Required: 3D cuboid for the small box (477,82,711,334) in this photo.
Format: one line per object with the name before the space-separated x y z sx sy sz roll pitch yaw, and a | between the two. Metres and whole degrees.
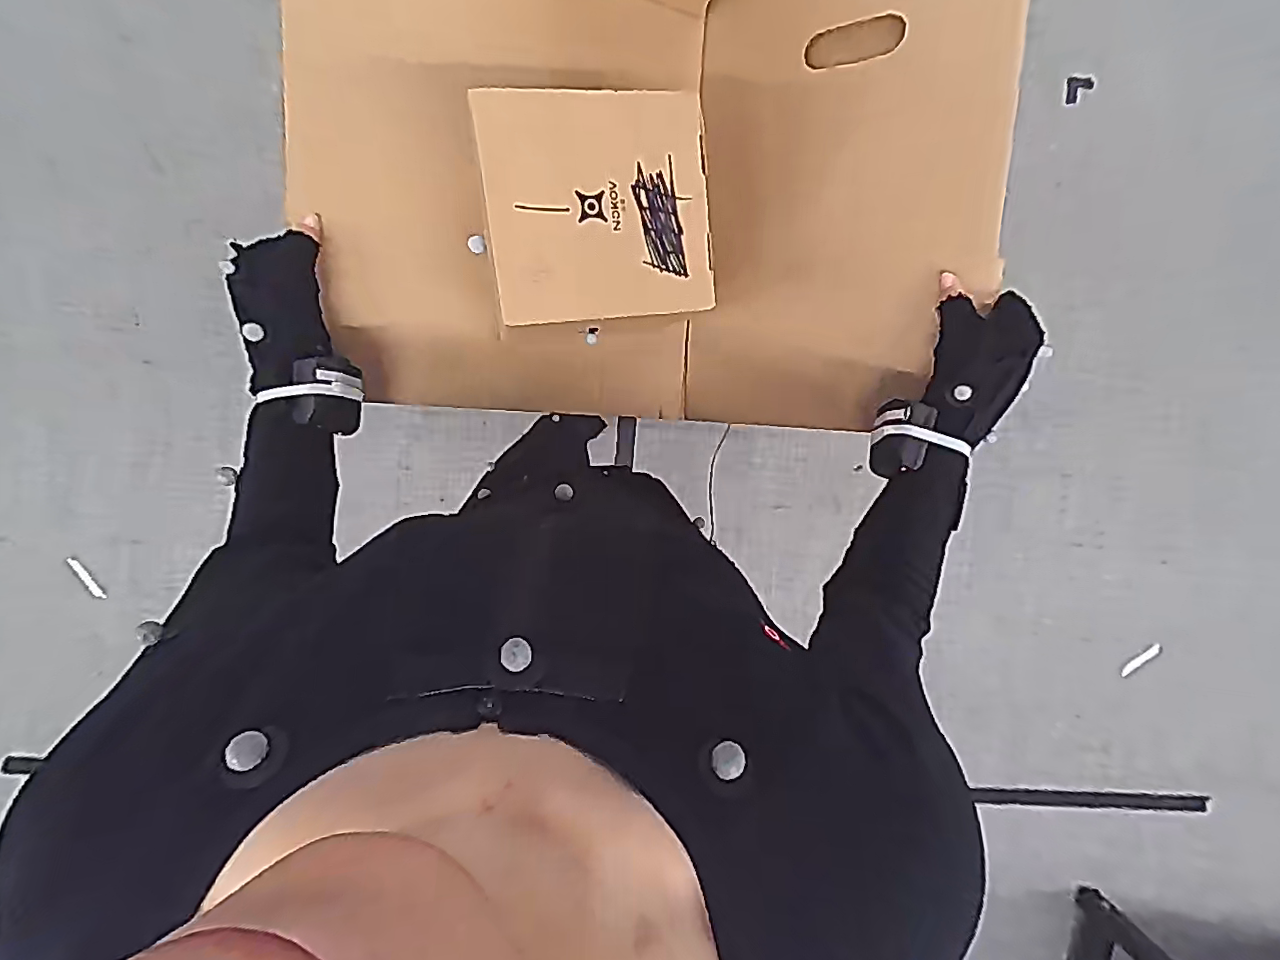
small box | -0.049 -0.233 0.503 0.179 0.176 0.168 -8 100 -13
